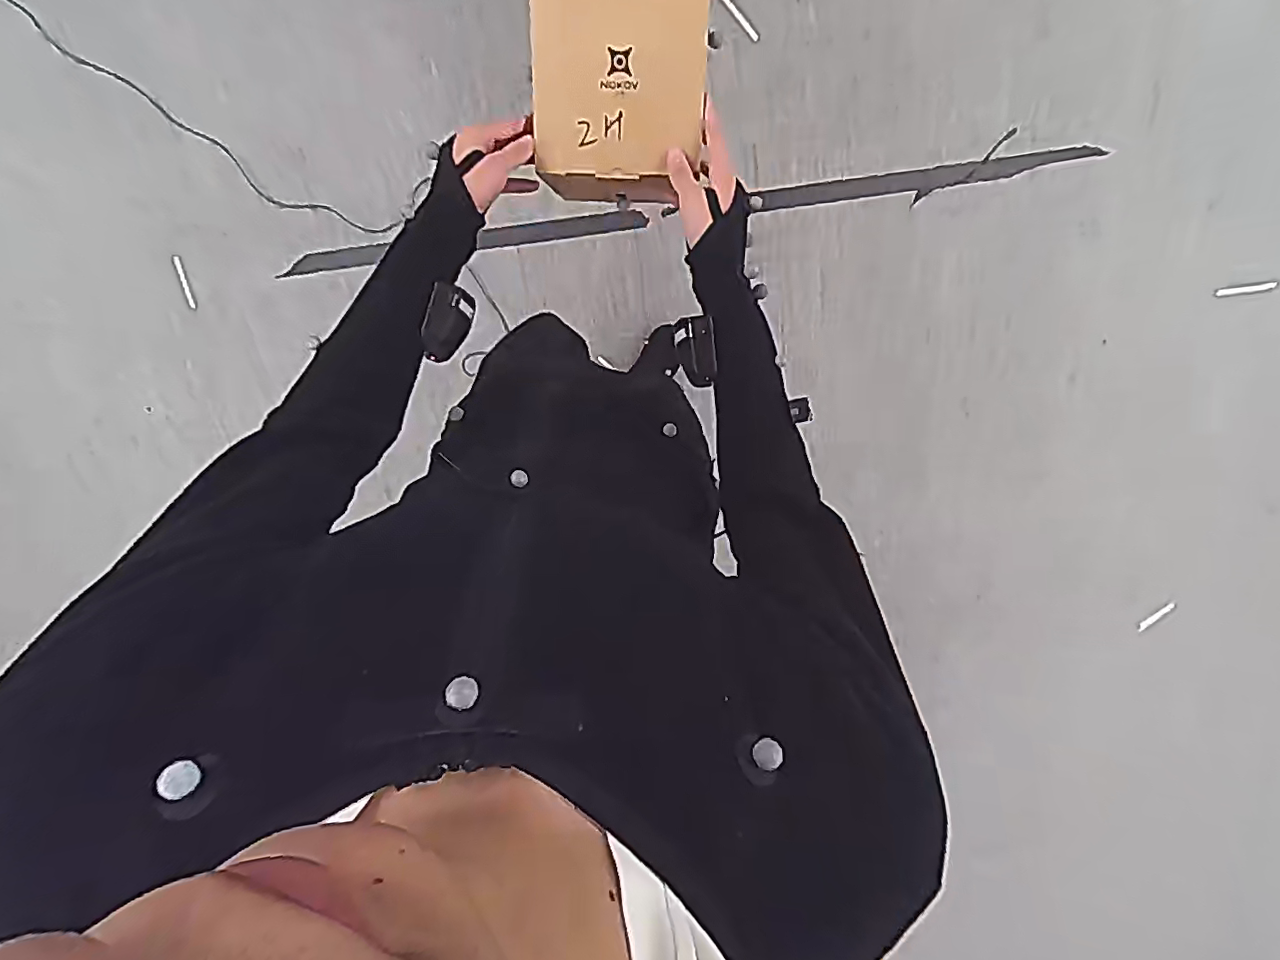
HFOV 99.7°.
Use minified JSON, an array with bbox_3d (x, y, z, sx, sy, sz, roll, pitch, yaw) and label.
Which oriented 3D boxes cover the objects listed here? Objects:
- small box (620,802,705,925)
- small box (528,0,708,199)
[{"bbox_3d":[0.048,0.878,1.248,0.179,0.176,0.168,4,109,-1],"label":"small box"},{"bbox_3d":[-0.019,-0.415,0.580,0.168,0.176,0.179,2,110,3],"label":"small box"}]
